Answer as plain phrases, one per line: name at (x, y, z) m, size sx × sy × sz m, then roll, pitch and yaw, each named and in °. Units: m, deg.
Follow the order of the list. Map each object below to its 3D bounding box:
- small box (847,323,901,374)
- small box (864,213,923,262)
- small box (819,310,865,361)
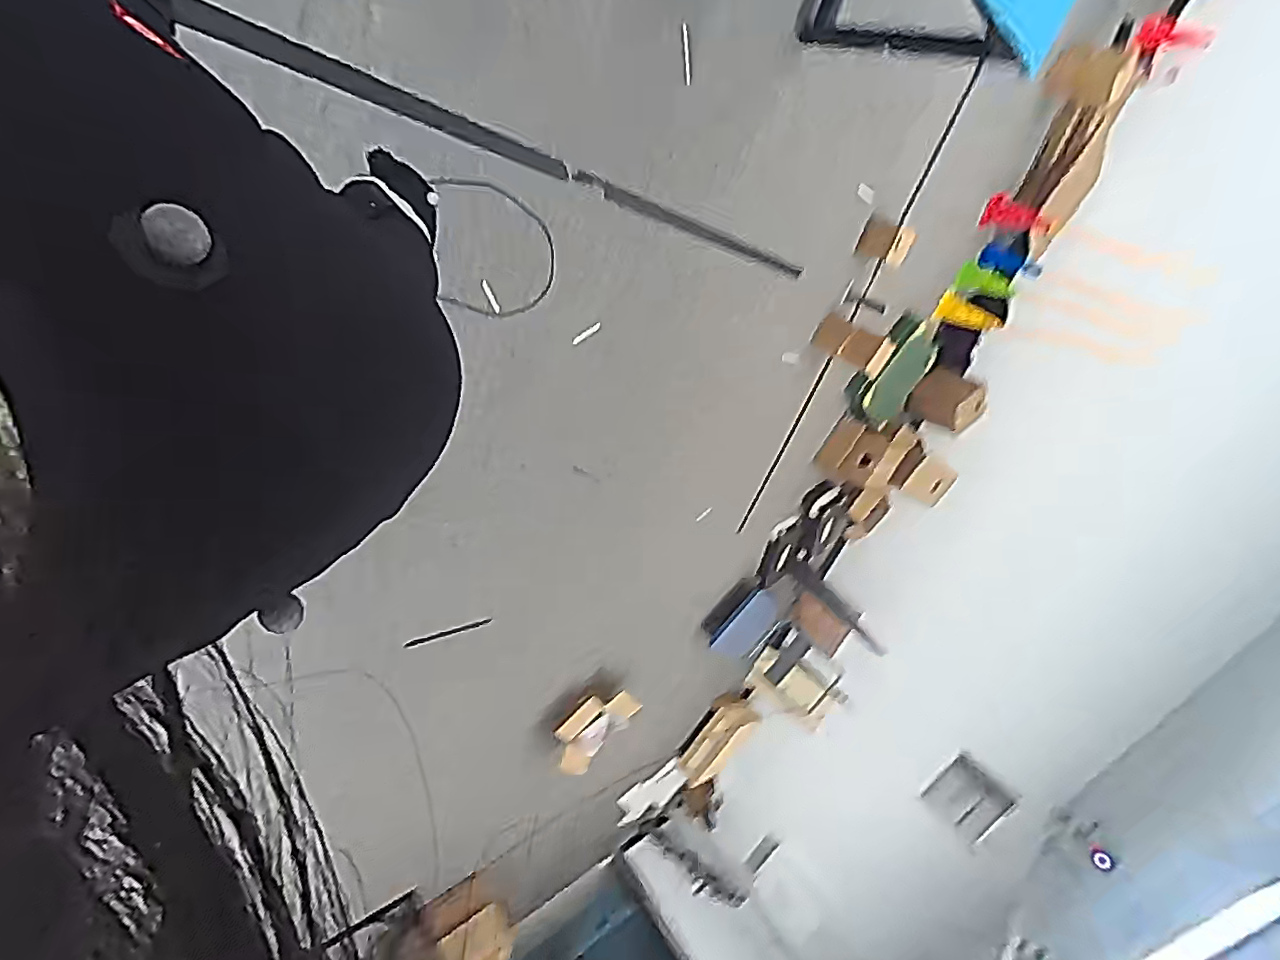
small box at (1.200, -0.680, 2.776) m, size 0.168 × 0.176 × 0.179 m, roll 12°, pitch 115°, yaw -51°
small box at (1.217, -1.173, 2.609) m, size 0.179 × 0.176 × 0.168 m, roll -9°, pitch 129°, yaw -44°
small box at (1.079, -0.766, 2.852) m, size 0.168 × 0.176 × 0.179 m, roll 14°, pitch 114°, yaw -53°
